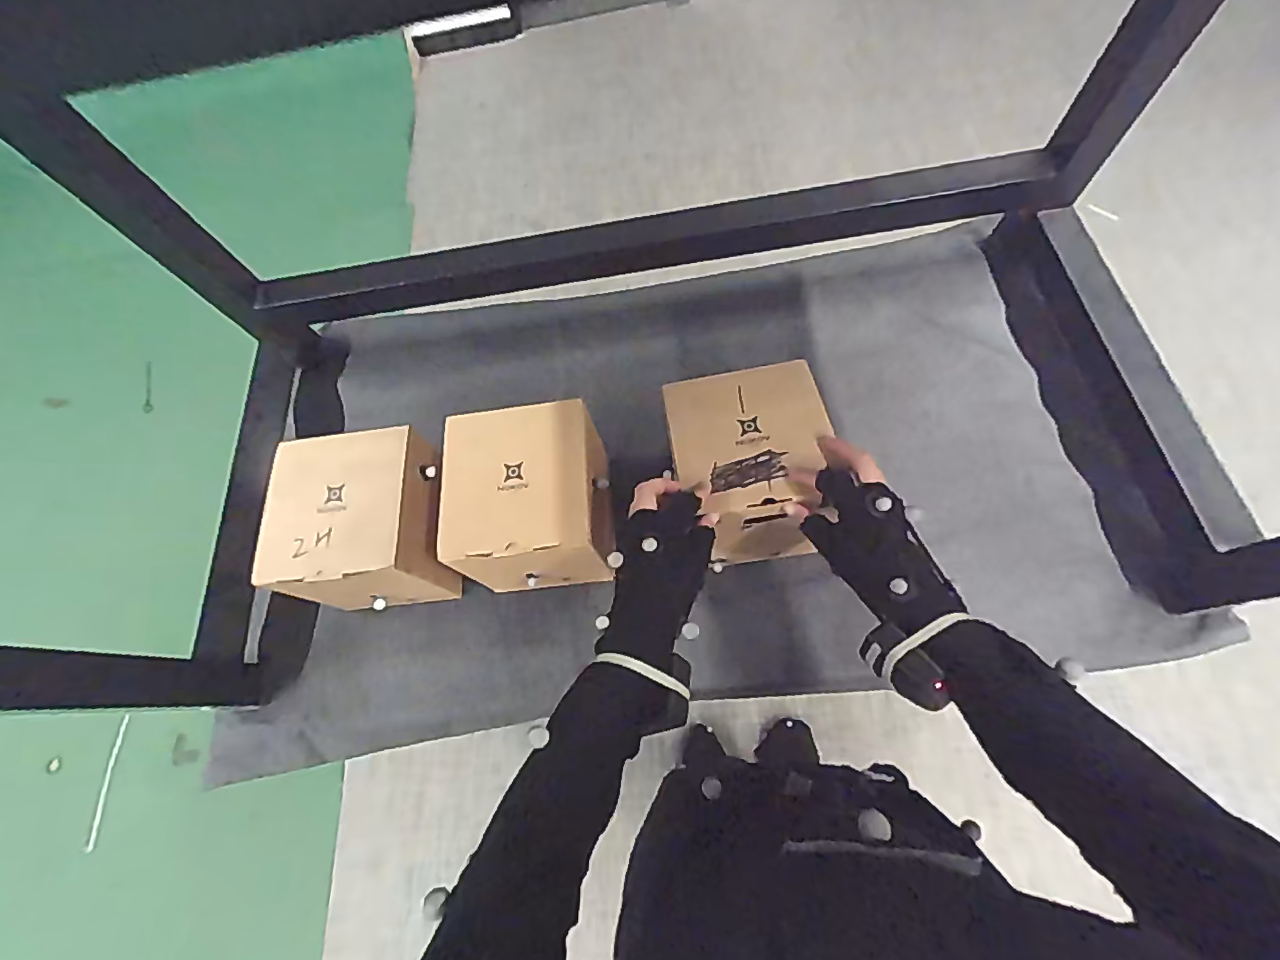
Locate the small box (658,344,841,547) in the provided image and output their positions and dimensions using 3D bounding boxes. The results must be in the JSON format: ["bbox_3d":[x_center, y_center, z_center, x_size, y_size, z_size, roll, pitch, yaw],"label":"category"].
[{"bbox_3d":[0.122,-0.028,0.642,0.168,0.176,0.179,-10,65,4],"label":"small box"}]
